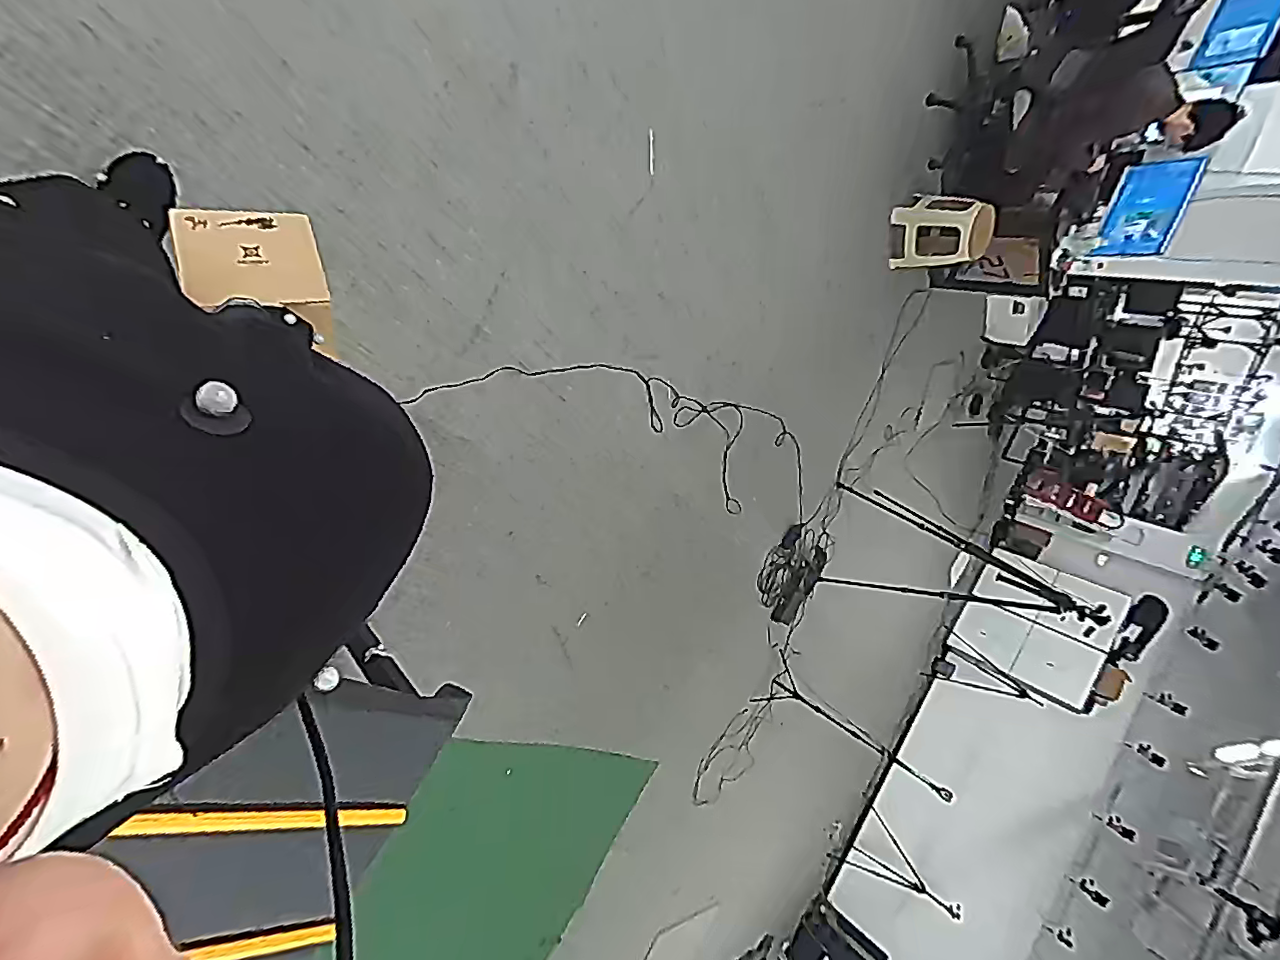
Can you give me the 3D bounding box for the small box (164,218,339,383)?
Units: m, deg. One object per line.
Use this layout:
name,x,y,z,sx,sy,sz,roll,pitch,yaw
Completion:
small box,-0.570,-0.262,0.812,0.168,0.179,0.176,-17,160,-30
